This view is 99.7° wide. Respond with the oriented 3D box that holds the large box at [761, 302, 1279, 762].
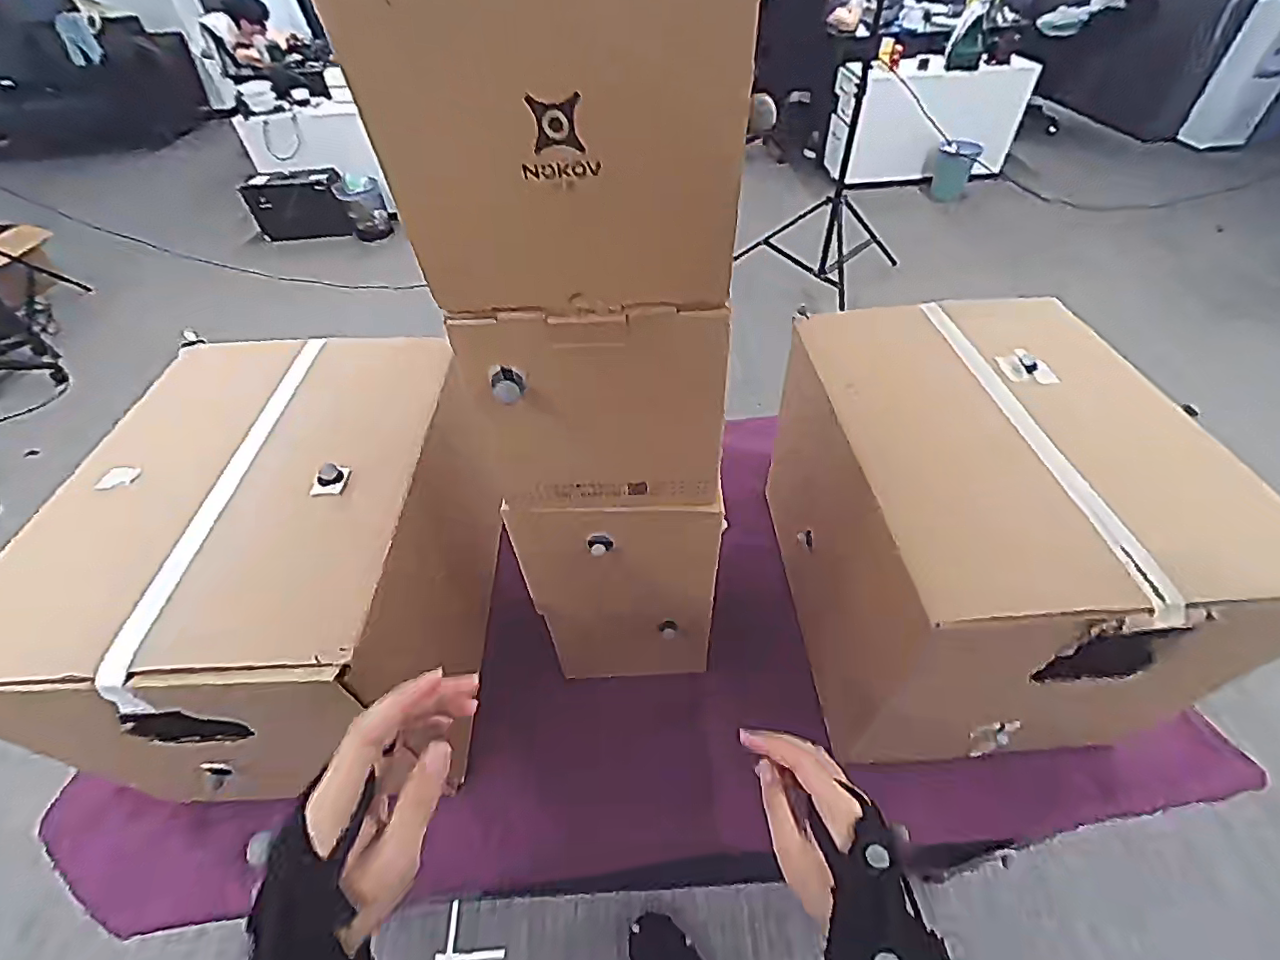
[{"bbox_3d":[0.344,0.047,0.611,0.320,0.320,0.408,-4,46,-1],"label":"large box"}]
